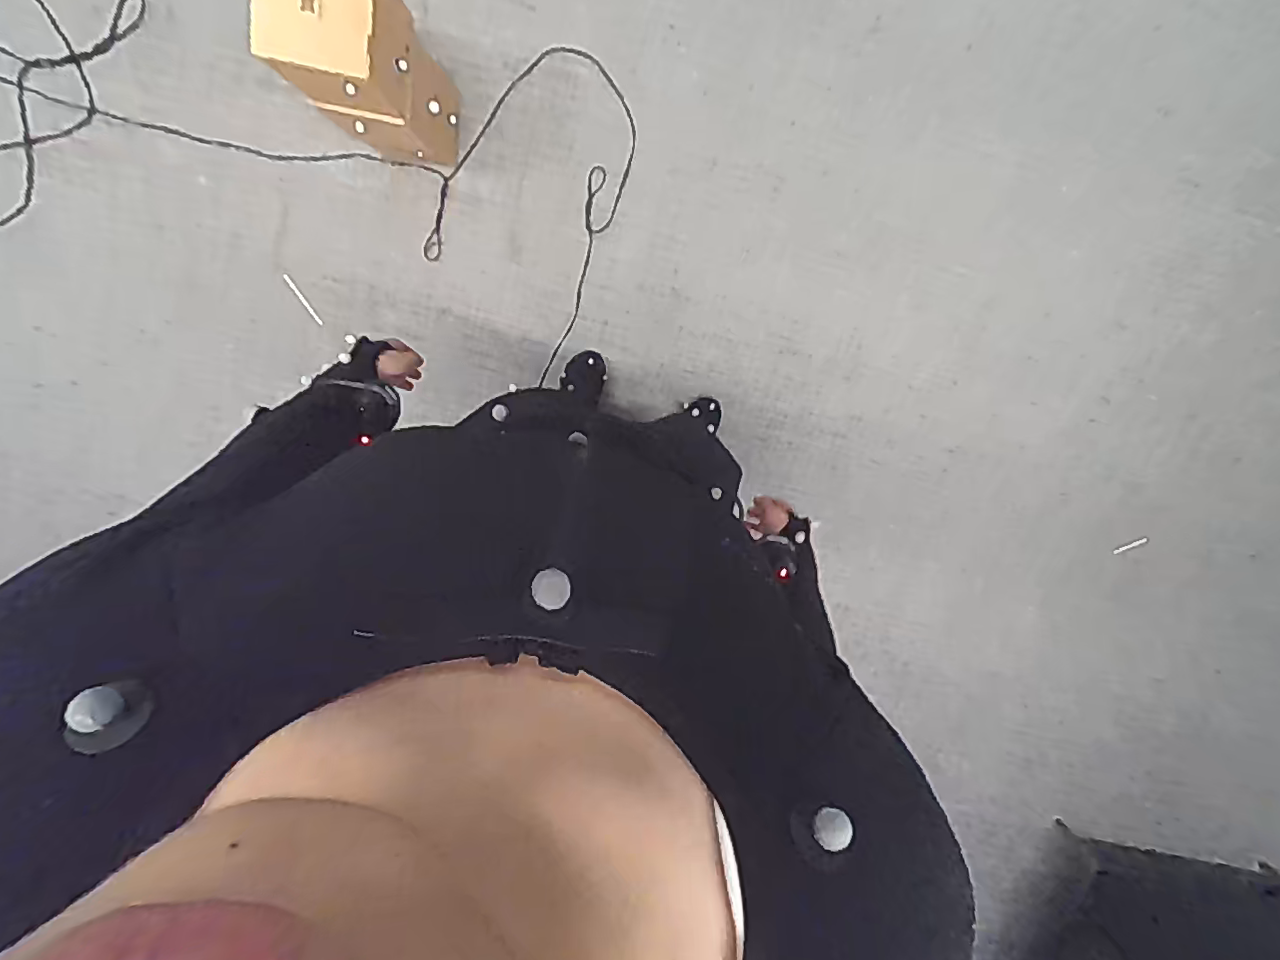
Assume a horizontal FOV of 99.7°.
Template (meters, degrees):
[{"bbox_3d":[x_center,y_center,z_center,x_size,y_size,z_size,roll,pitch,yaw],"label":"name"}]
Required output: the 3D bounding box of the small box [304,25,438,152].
[{"bbox_3d":[-0.509,-0.761,1.040,0.179,0.176,0.168,9,104,-5],"label":"small box"}]

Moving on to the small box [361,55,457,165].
[{"bbox_3d":[-0.515,-0.818,1.194,0.179,0.176,0.168,6,103,-3],"label":"small box"}]

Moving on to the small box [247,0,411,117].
[{"bbox_3d":[-0.498,-0.726,0.882,0.179,0.176,0.168,8,104,-5],"label":"small box"}]
